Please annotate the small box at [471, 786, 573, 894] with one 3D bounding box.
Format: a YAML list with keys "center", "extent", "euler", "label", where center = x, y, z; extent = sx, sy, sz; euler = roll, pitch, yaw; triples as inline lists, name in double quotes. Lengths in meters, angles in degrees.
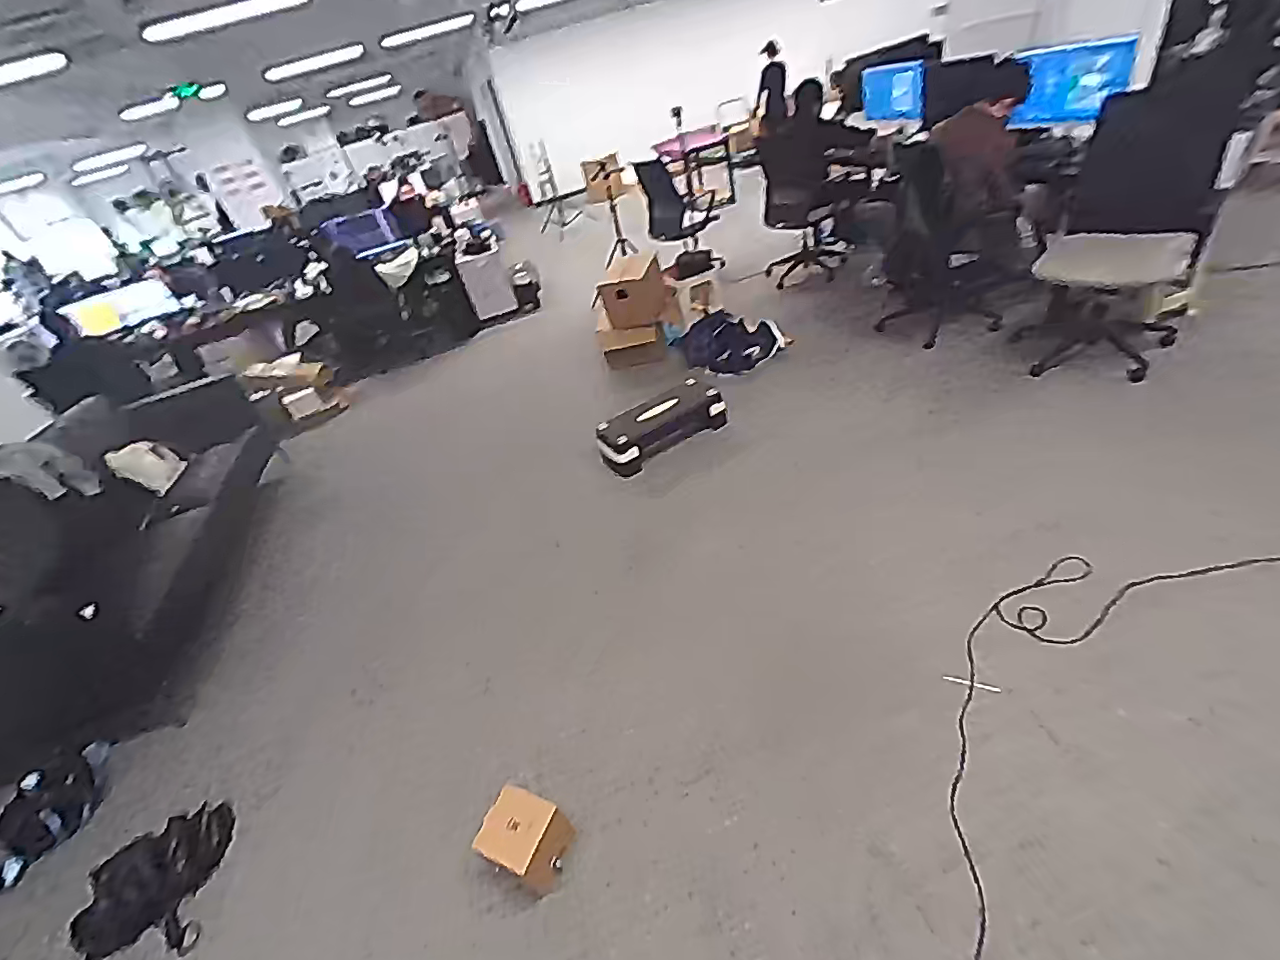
- center: [-0.306, 0.955, 1.432]
  extent: [0.179, 0.176, 0.168]
  euler: [5, 42, 26]
  label: "small box"
